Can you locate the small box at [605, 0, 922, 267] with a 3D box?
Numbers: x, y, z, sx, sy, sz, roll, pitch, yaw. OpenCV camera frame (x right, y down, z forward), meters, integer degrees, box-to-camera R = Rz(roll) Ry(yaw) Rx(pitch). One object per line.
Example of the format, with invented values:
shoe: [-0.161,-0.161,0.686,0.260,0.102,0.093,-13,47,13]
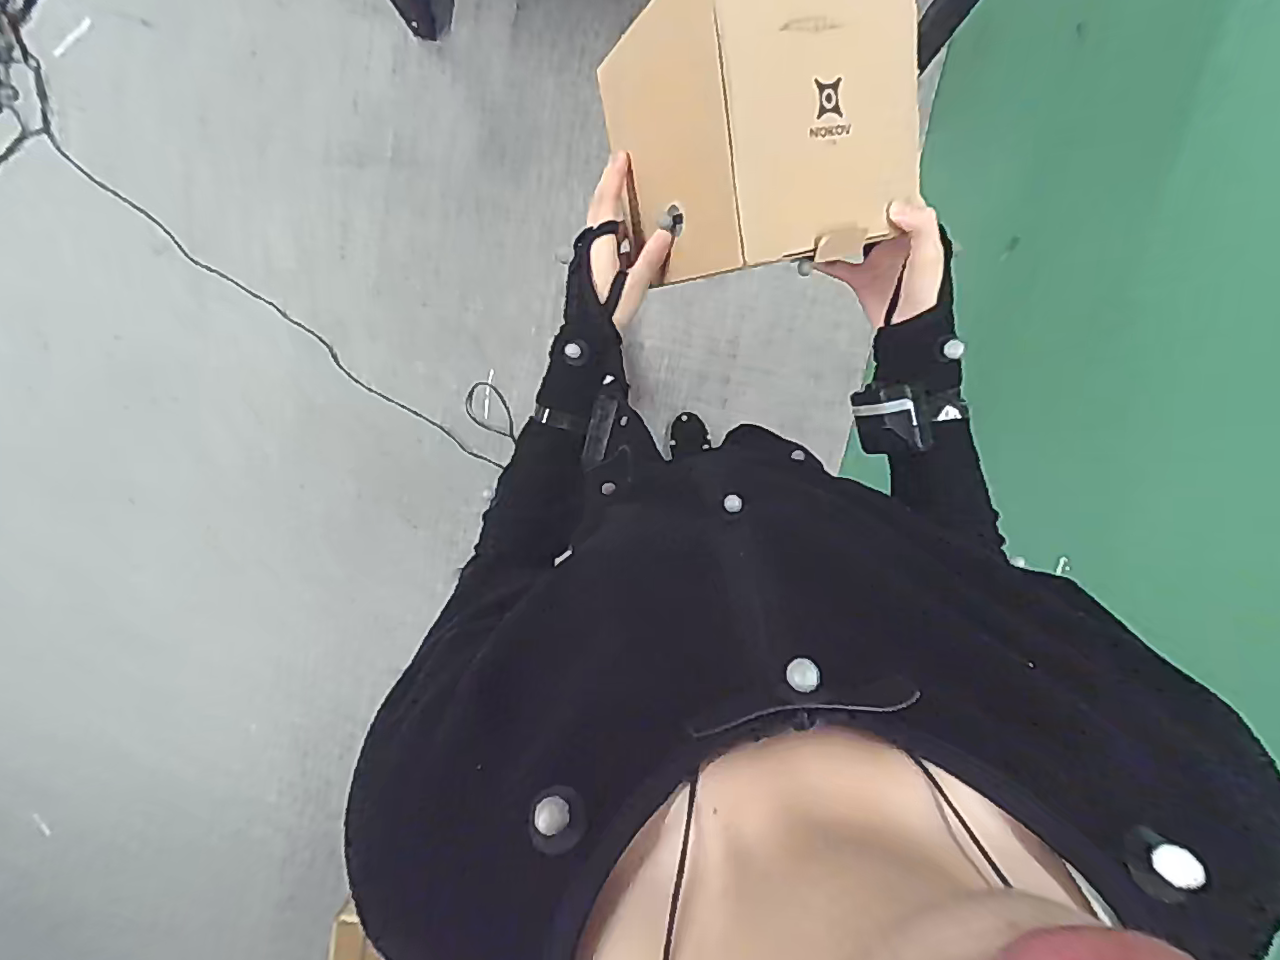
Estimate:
small box: [0.088,-0.271,0.421,0.168,0.176,0.179,-19,110,-21]
